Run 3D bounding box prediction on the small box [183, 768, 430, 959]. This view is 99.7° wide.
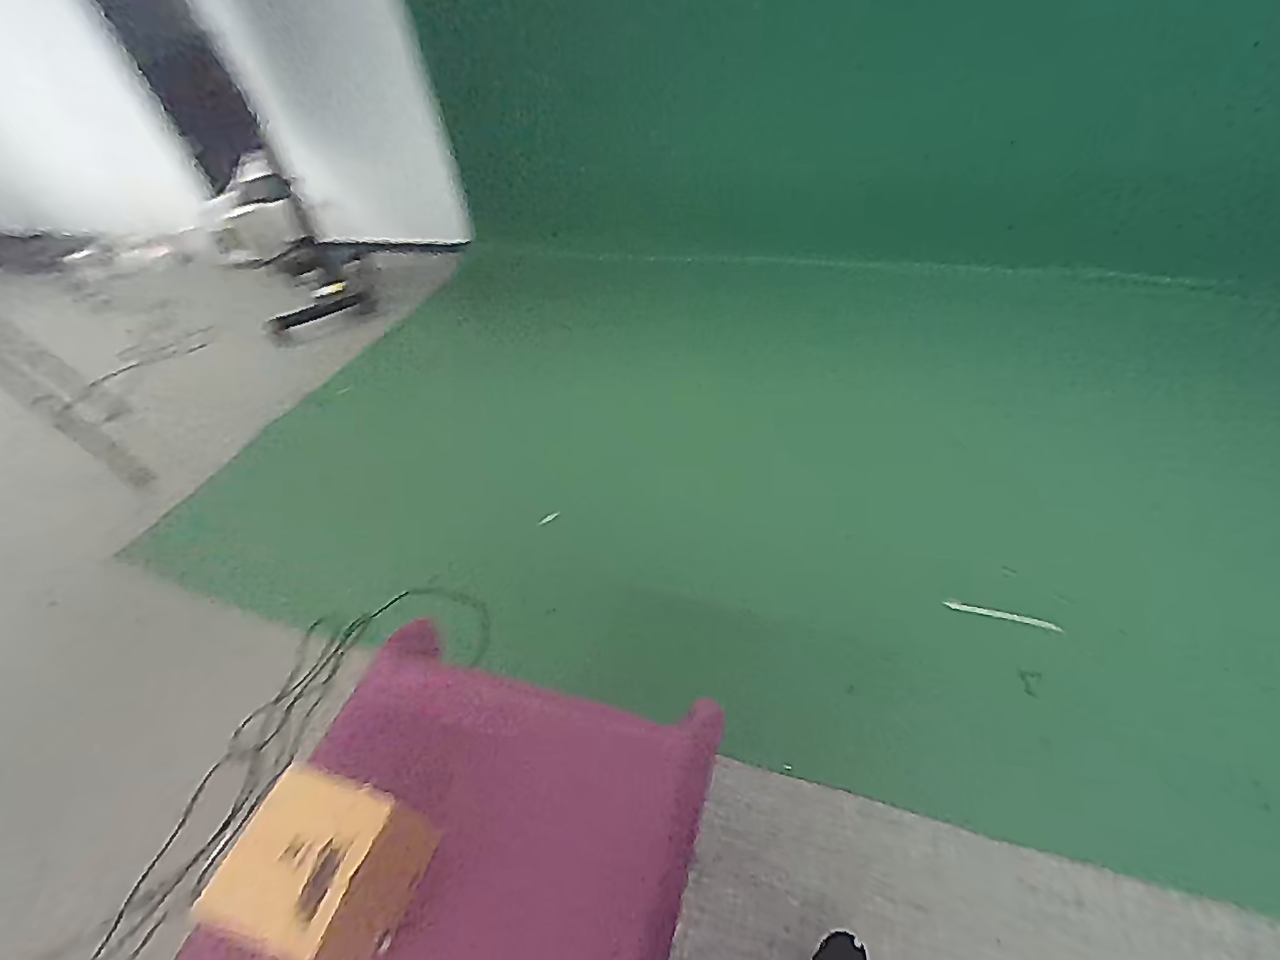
[{"bbox_3d":[-0.410,0.506,0.703,0.179,0.176,0.168,7,48,17],"label":"small box"}]
